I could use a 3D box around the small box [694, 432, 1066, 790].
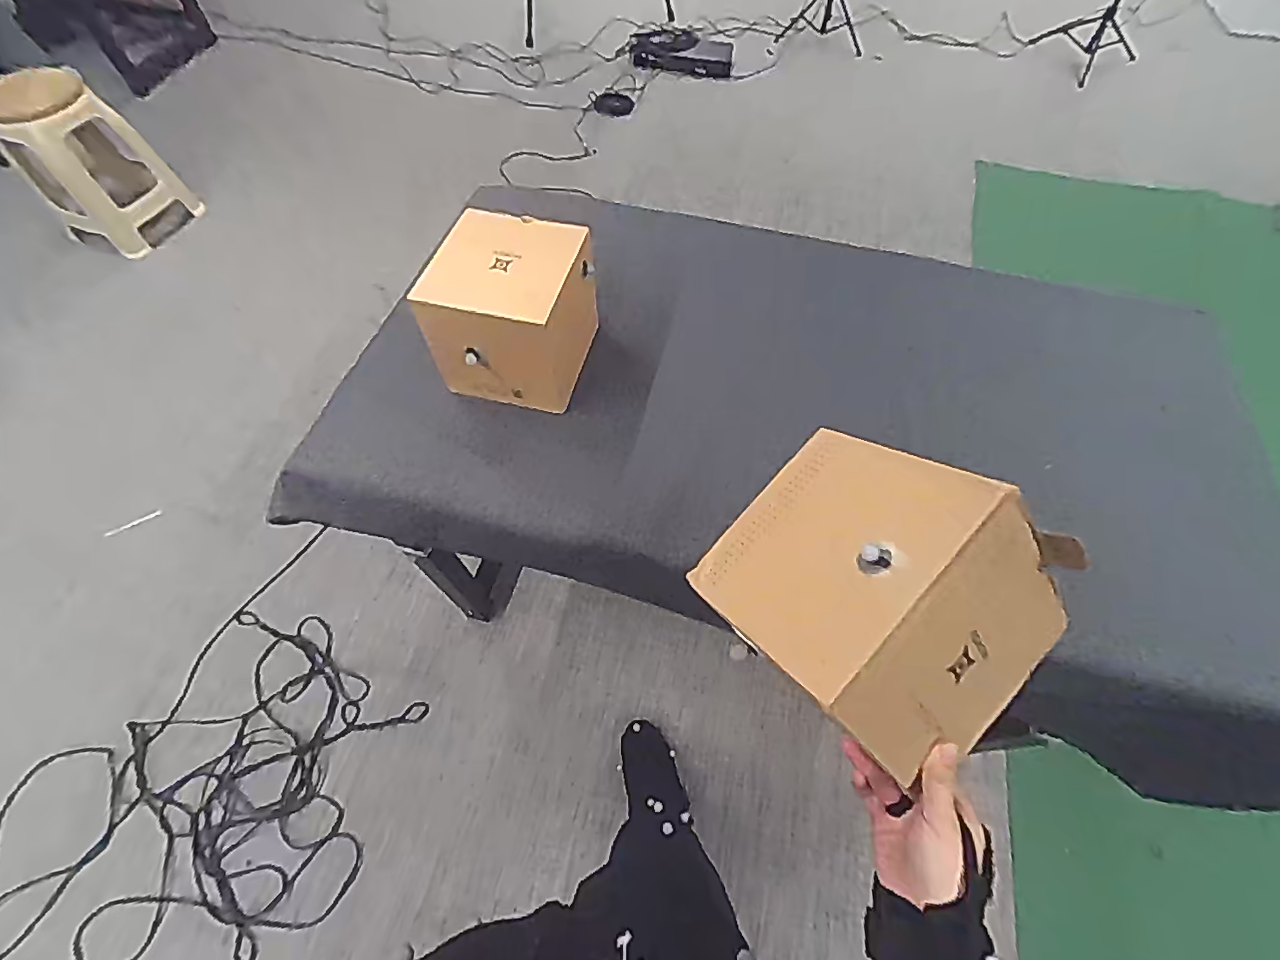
[{"bbox_3d":[0.175,0.085,0.420,0.179,0.168,0.176,-47,29,-6],"label":"small box"}]

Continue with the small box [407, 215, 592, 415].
[{"bbox_3d":[-0.164,-0.208,0.704,0.168,0.176,0.179,11,59,6],"label":"small box"}]
